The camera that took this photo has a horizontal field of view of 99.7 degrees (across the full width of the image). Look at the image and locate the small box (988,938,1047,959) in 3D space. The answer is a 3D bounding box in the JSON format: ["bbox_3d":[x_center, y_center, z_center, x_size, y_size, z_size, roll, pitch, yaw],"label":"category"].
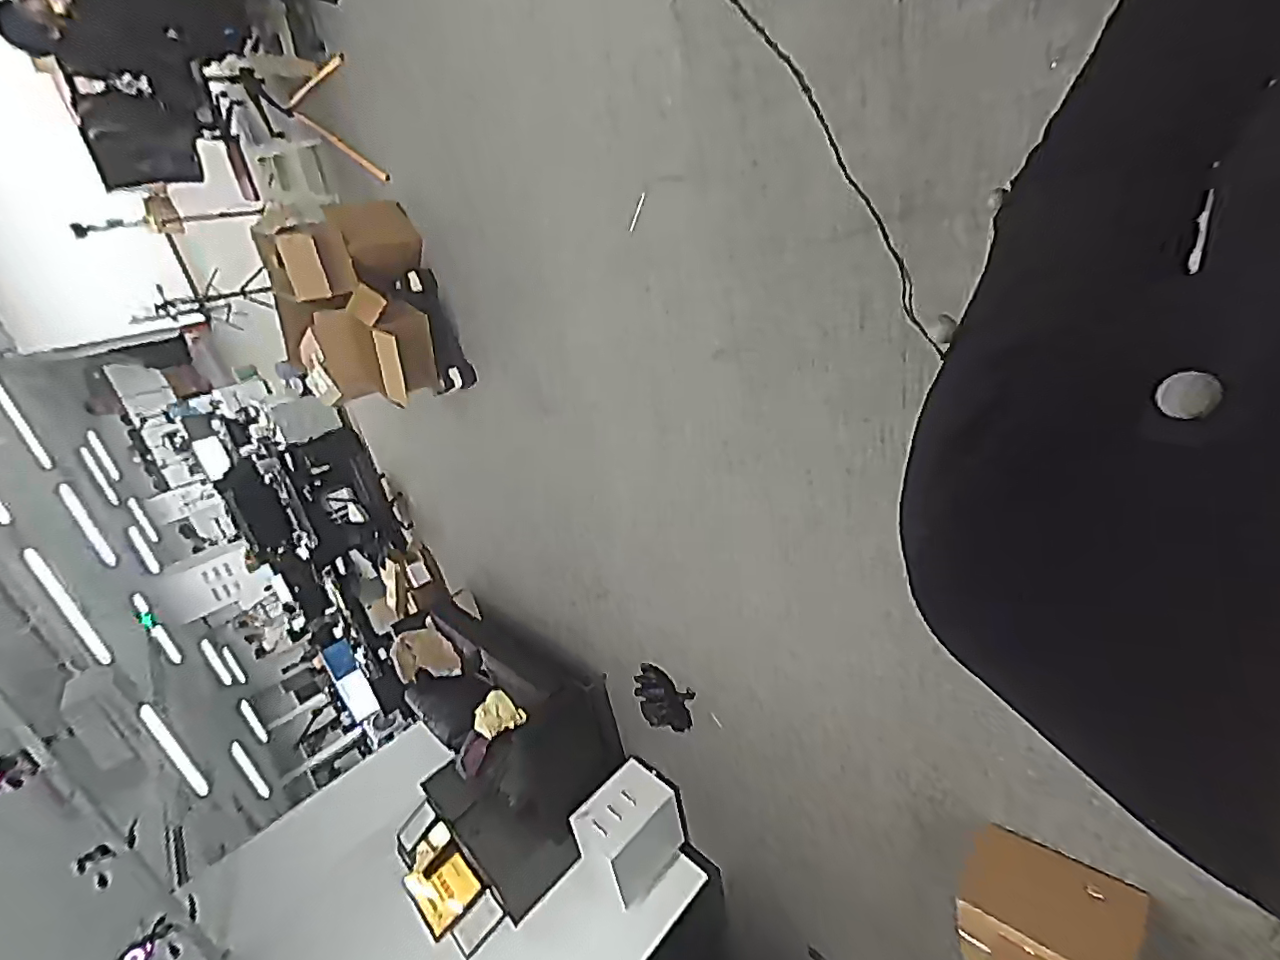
[{"bbox_3d":[1.067,1.422,1.483,0.179,0.176,0.168,-4,110,52],"label":"small box"}]
